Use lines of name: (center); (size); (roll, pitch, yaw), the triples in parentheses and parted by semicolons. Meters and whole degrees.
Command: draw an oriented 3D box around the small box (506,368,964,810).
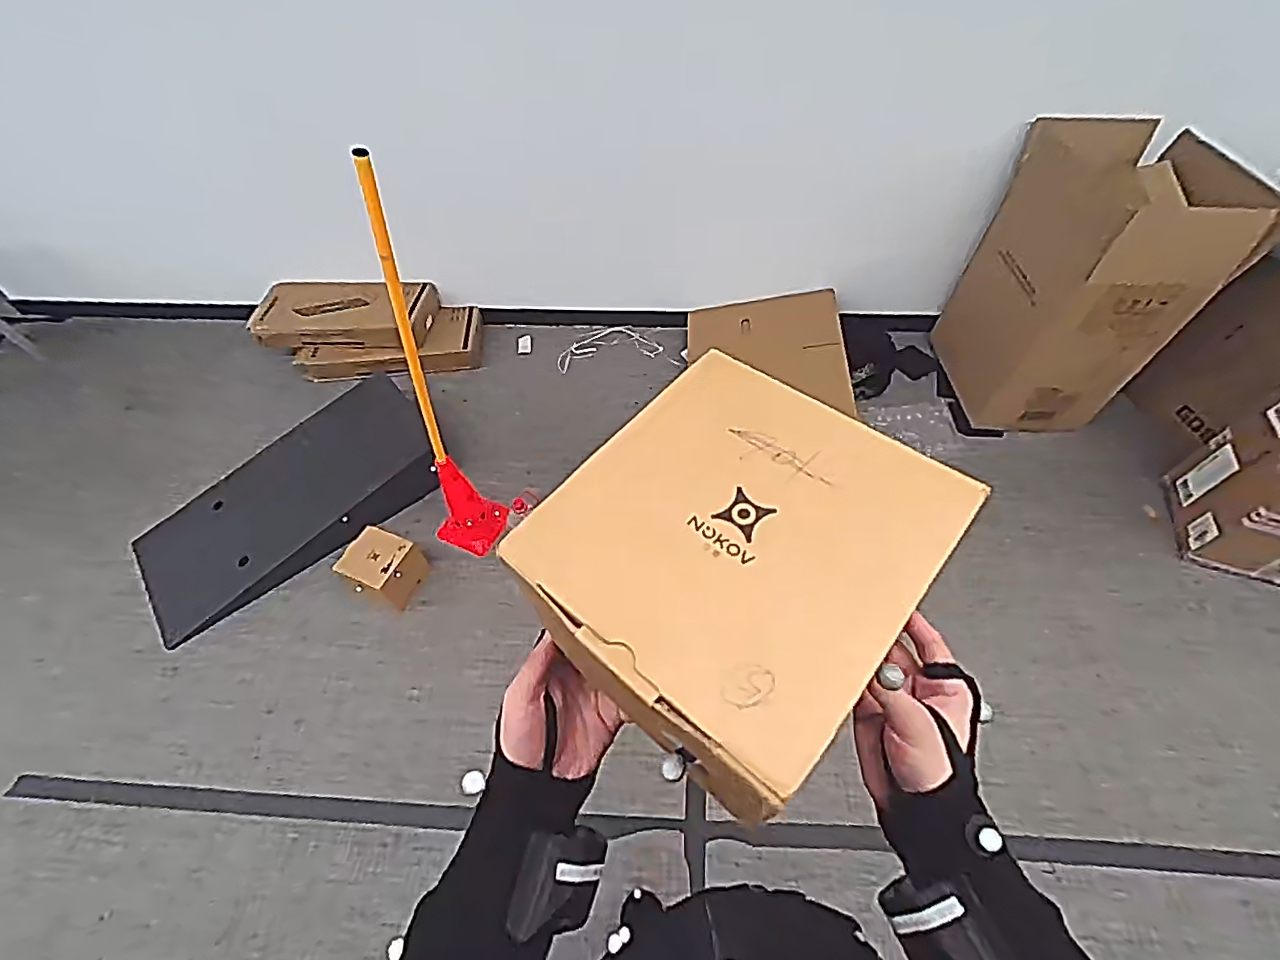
small box: (0.053, 0.071, 0.336); (0.168, 0.176, 0.179); (35, 64, 24)
